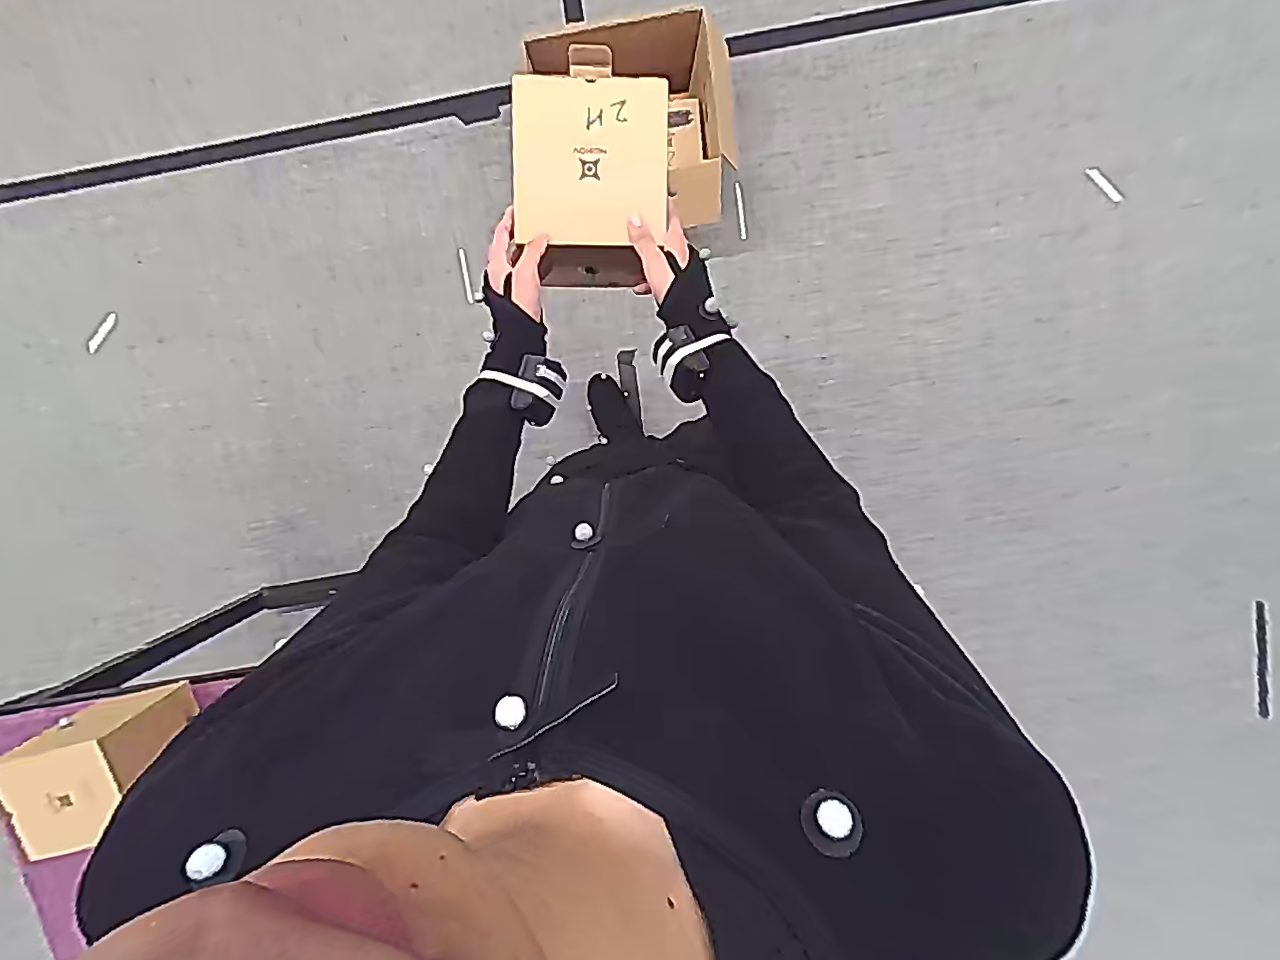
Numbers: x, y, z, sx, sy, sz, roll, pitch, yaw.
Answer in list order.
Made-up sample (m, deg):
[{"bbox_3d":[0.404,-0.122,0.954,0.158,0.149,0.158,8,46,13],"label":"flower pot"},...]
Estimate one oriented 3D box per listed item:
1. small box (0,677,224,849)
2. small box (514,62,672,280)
[{"bbox_3d":[-0.844,0.450,0.883,0.179,0.176,0.168,-14,100,3],"label":"small box"},{"bbox_3d":[-0.053,-0.350,0.648,0.168,0.176,0.179,1,94,-4],"label":"small box"}]
